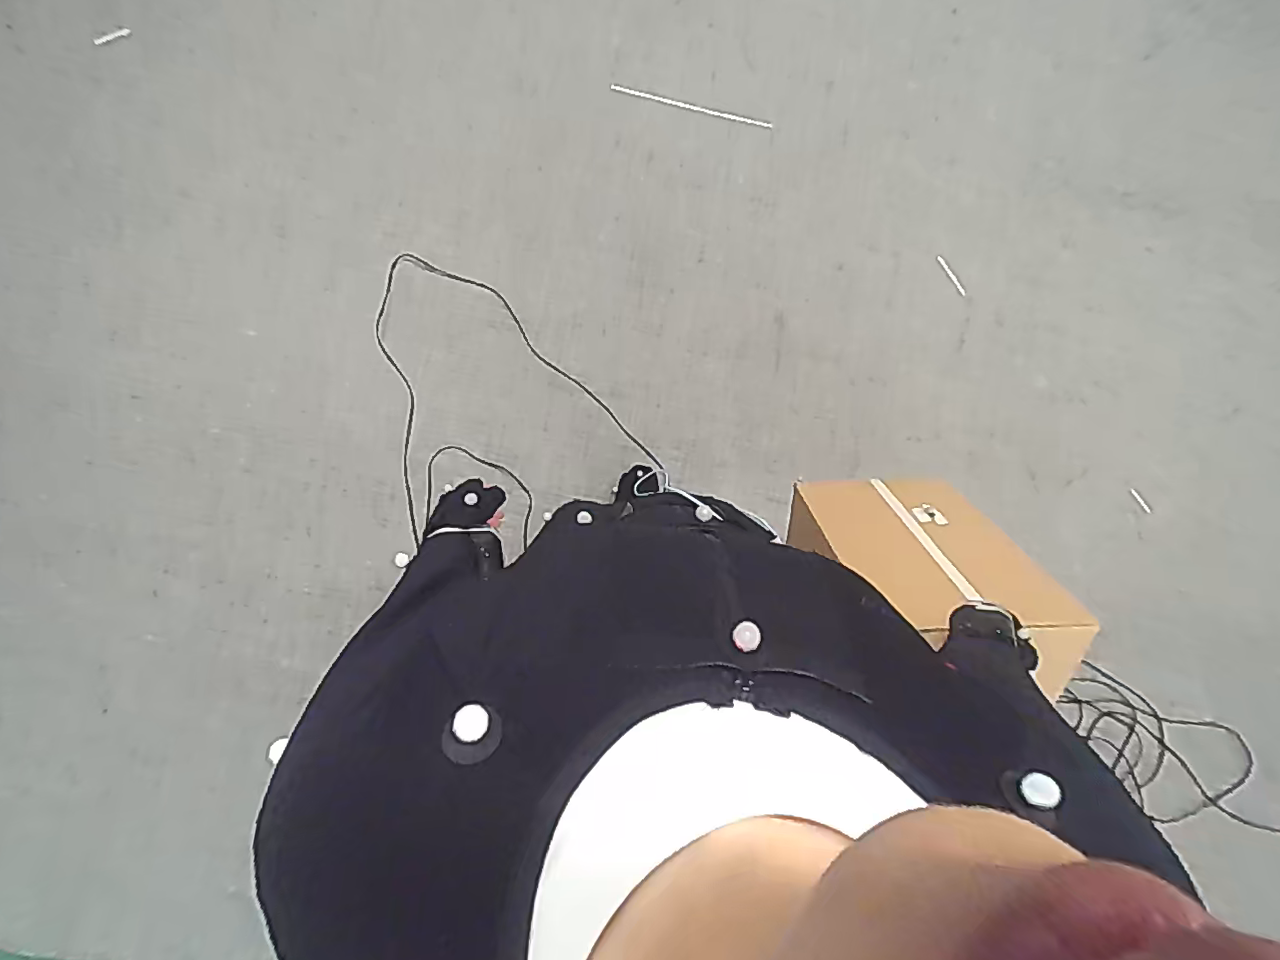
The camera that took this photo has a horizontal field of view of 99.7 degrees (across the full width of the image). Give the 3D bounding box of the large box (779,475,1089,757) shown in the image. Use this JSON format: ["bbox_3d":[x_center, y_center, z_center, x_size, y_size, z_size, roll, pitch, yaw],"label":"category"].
[{"bbox_3d":[0.472,0.227,0.993,0.320,0.408,0.320,-1,120,-3],"label":"large box"}]
